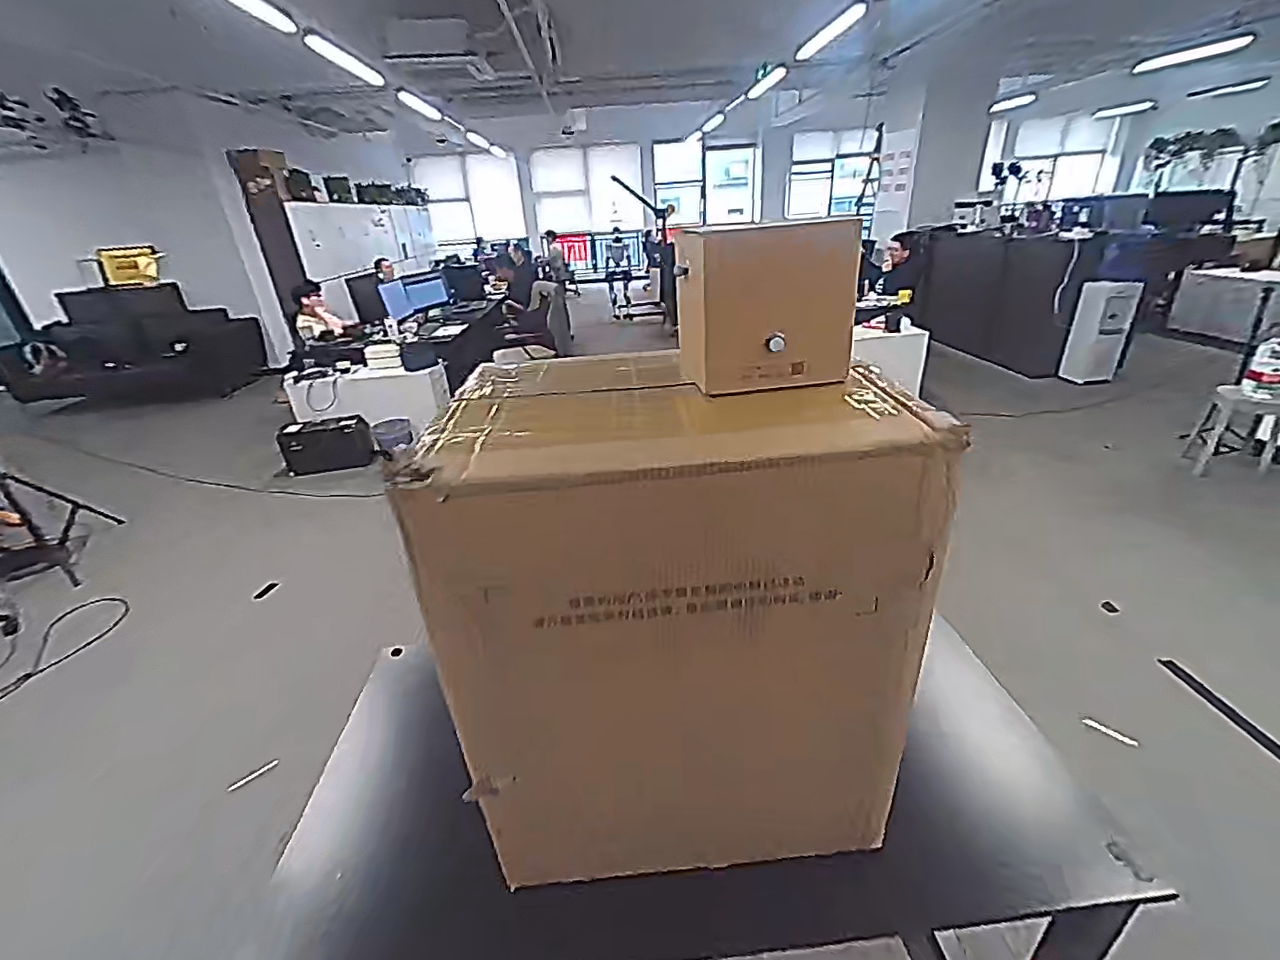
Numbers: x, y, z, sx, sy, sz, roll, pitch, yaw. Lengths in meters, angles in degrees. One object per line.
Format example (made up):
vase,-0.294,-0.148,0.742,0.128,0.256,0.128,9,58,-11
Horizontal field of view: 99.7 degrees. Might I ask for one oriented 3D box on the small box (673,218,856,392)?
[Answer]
small box,0.134,-0.211,0.644,0.168,0.176,0.179,-7,26,-3
